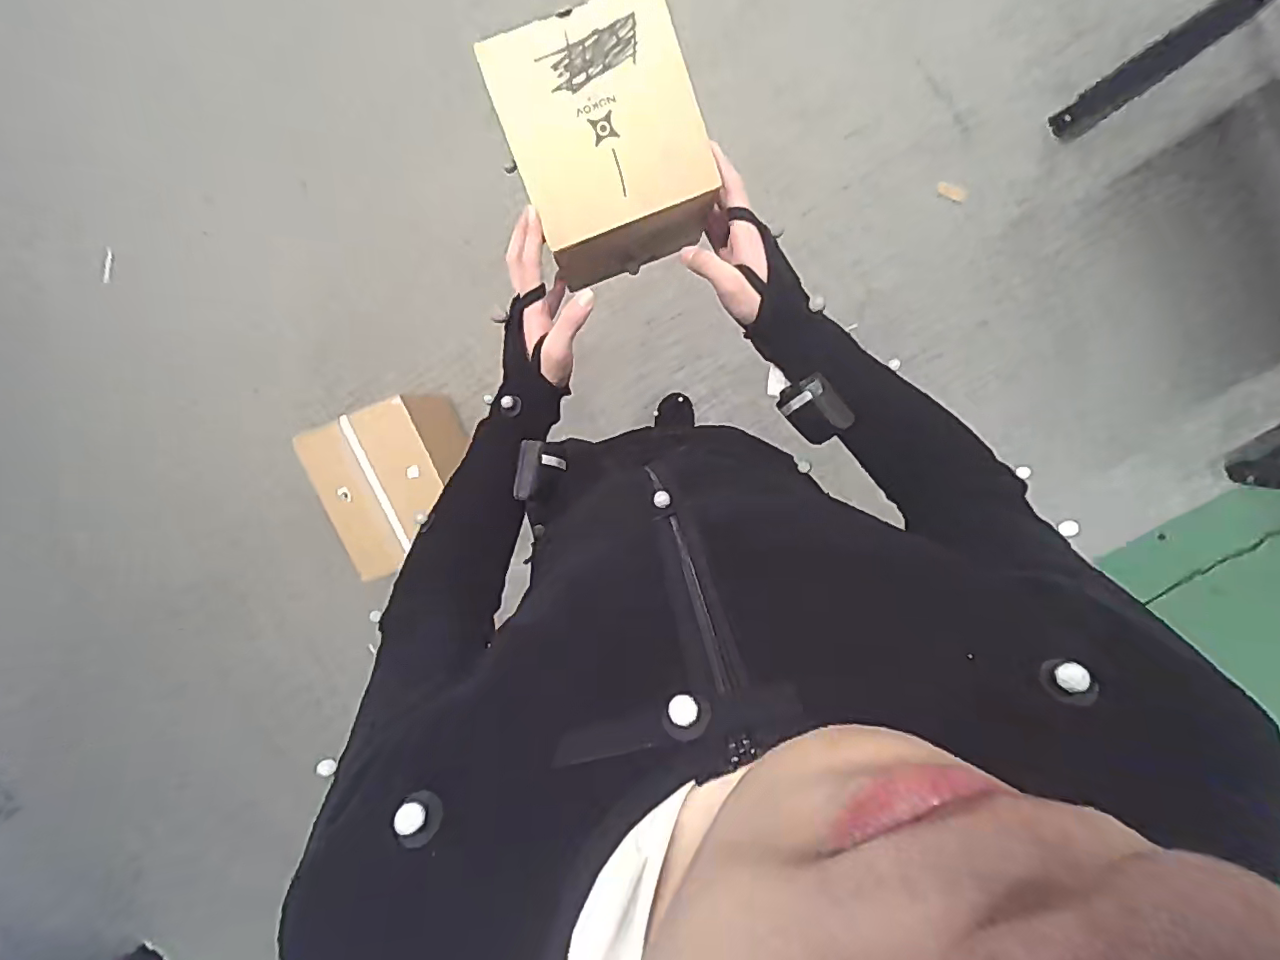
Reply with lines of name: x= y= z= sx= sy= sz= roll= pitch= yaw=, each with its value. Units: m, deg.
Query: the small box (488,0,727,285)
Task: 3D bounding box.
small box: x=-0.029 y=-0.323 z=0.546 sx=0.168 sy=0.176 sz=0.179 roll=-20 pitch=98 yaw=2
